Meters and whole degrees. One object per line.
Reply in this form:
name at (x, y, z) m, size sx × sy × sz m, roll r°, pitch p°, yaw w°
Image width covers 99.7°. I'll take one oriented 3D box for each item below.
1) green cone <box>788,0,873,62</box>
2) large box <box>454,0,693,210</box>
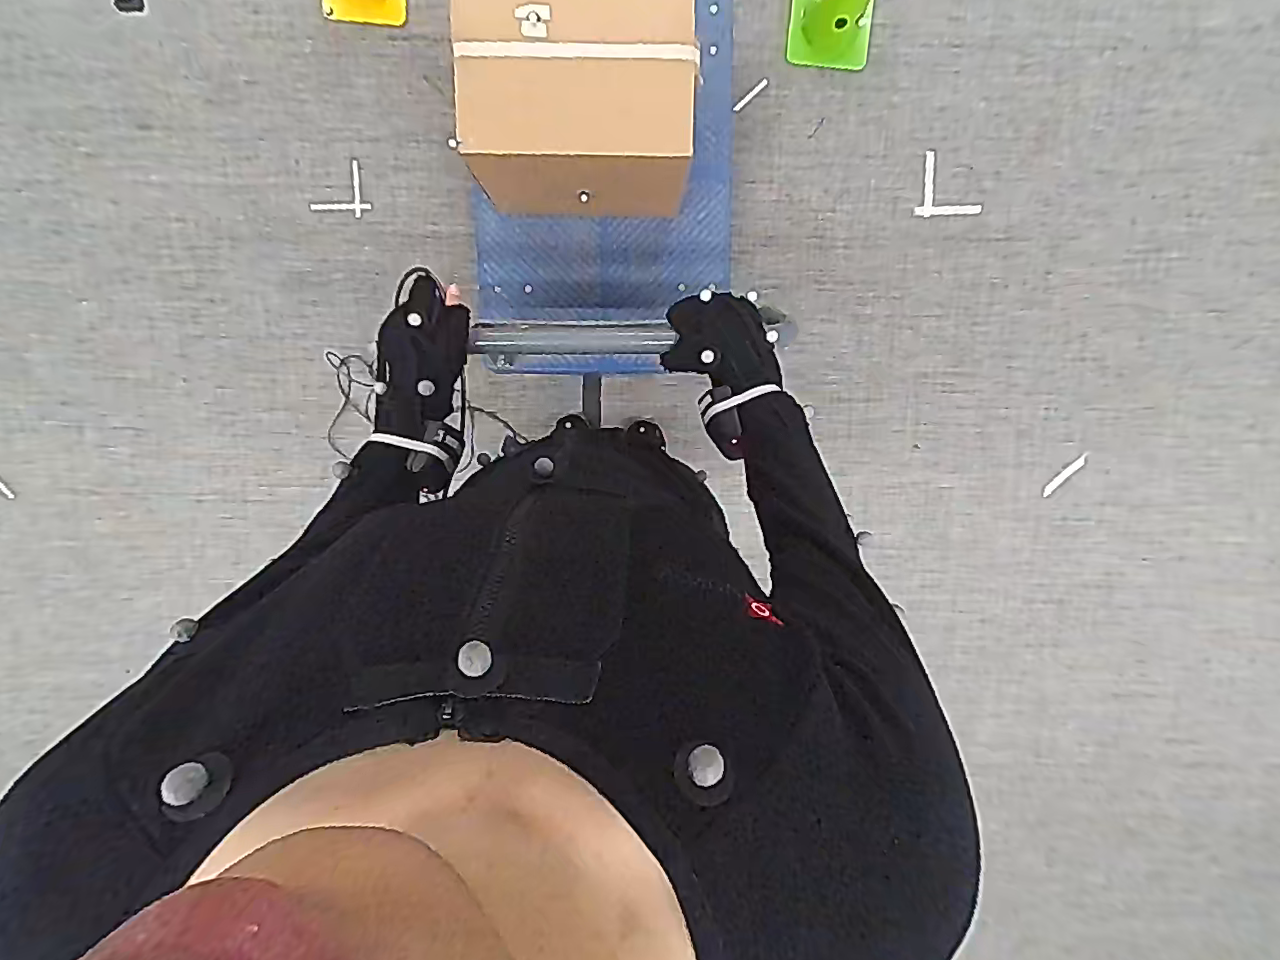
green cone at (0.474, -1.115, 1.153) m, size 0.202 × 0.368 × 0.200 m, roll 4°, pitch 98°, yaw -3°
large box at (-0.109, -0.733, 1.051) m, size 0.408 × 0.320 × 0.320 m, roll 0°, pitch 98°, yaw 0°
